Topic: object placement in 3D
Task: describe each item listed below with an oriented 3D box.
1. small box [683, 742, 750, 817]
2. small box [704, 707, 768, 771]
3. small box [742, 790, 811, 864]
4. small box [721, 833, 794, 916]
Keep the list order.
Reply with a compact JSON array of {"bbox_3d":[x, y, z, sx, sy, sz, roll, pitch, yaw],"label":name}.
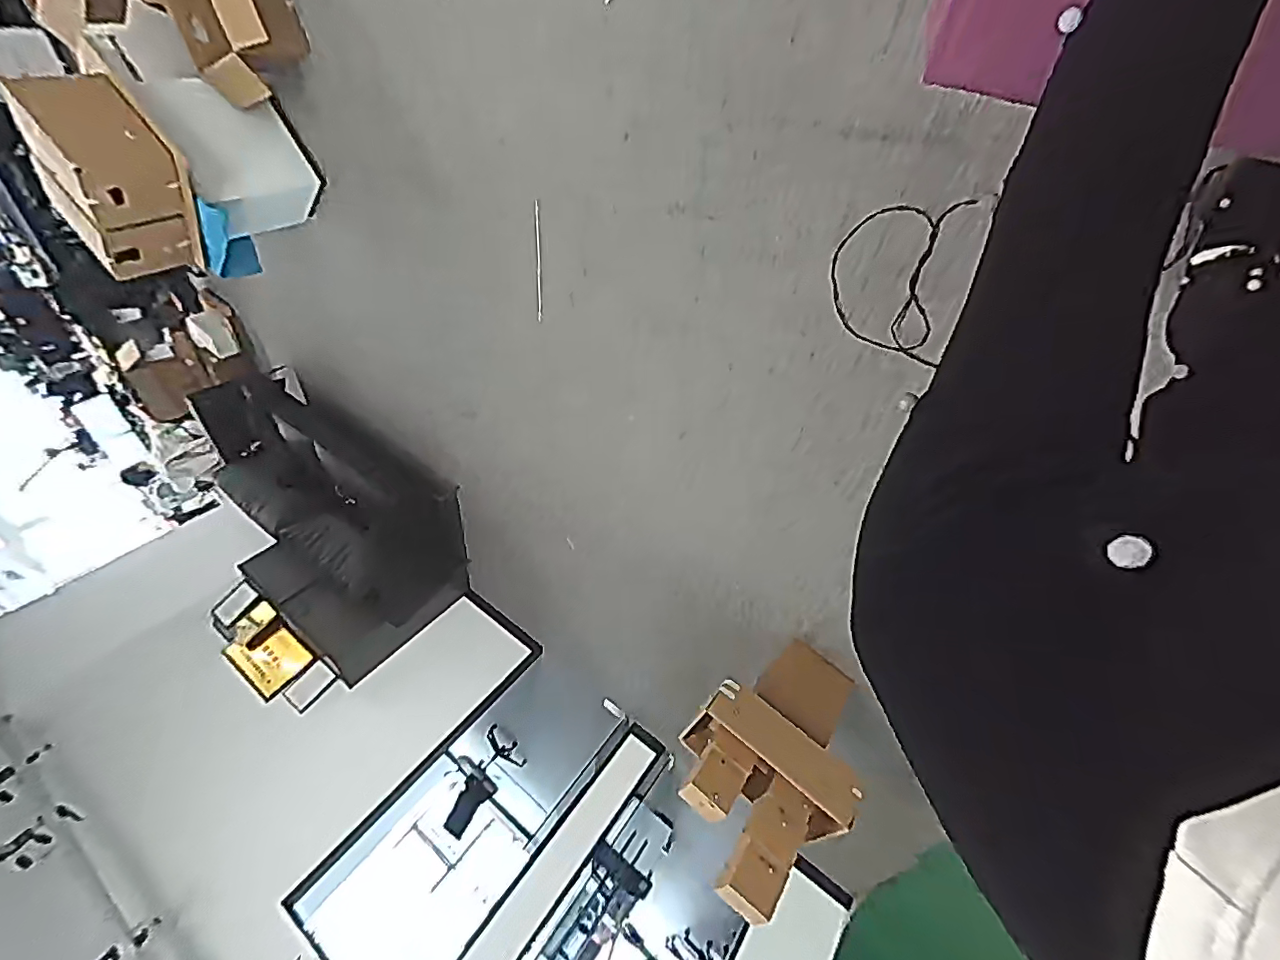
[{"bbox_3d":[0.294,1.141,2.062,0.168,0.176,0.179,36,140,13],"label":"small box"},{"bbox_3d":[0.388,1.047,2.159,0.168,0.176,0.179,34,139,15],"label":"small box"},{"bbox_3d":[0.503,1.282,1.987,0.168,0.176,0.179,32,139,17],"label":"small box"},{"bbox_3d":[0.414,1.378,1.891,0.168,0.176,0.179,33,140,16],"label":"small box"}]
